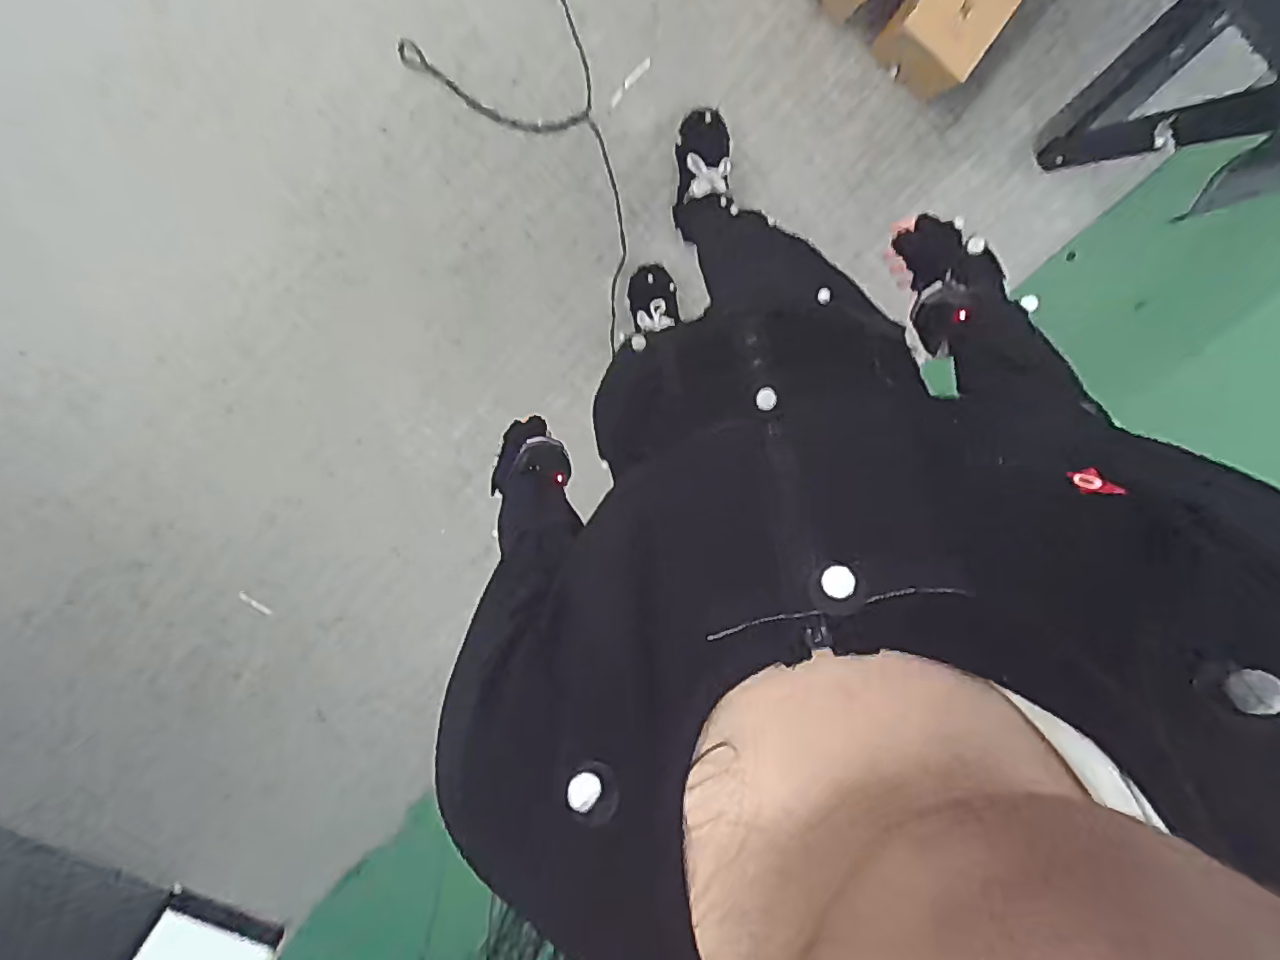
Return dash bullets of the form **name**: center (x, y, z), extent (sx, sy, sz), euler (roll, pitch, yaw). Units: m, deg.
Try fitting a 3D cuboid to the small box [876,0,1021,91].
- **small box**: center (0.611, -0.928, 1.074), extent (0.168, 0.176, 0.179), euler (30, 109, -15)
